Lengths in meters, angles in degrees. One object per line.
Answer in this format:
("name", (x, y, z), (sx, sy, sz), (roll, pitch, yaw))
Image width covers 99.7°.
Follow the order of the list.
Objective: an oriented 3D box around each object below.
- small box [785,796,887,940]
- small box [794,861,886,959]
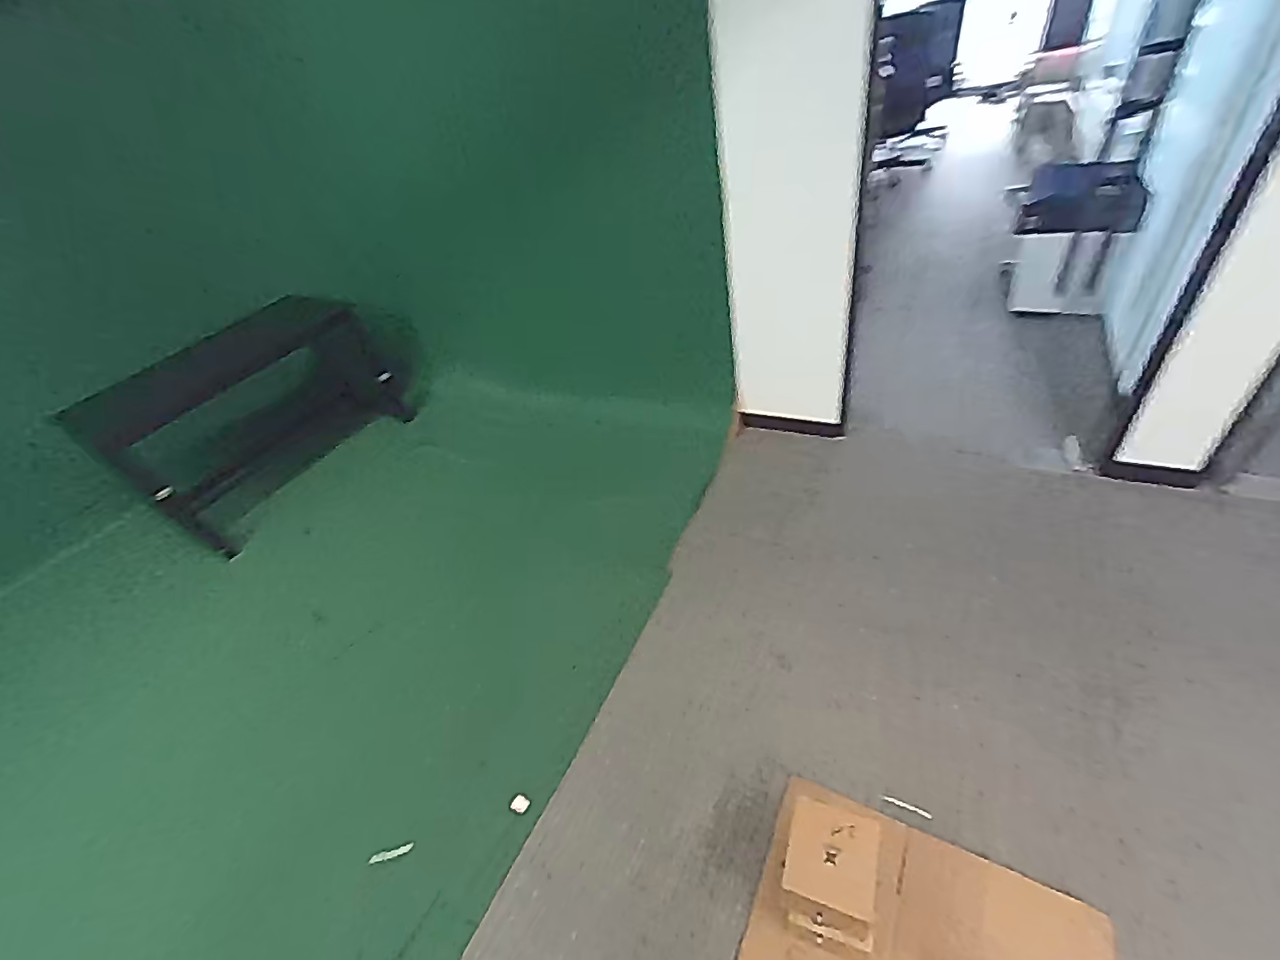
("small box", (0.396, 0.790, 1.100), (0.168, 0.176, 0.179), (10, 45, 23))
("small box", (0.436, 0.925, 1.190), (0.168, 0.176, 0.179), (8, 45, 23))
